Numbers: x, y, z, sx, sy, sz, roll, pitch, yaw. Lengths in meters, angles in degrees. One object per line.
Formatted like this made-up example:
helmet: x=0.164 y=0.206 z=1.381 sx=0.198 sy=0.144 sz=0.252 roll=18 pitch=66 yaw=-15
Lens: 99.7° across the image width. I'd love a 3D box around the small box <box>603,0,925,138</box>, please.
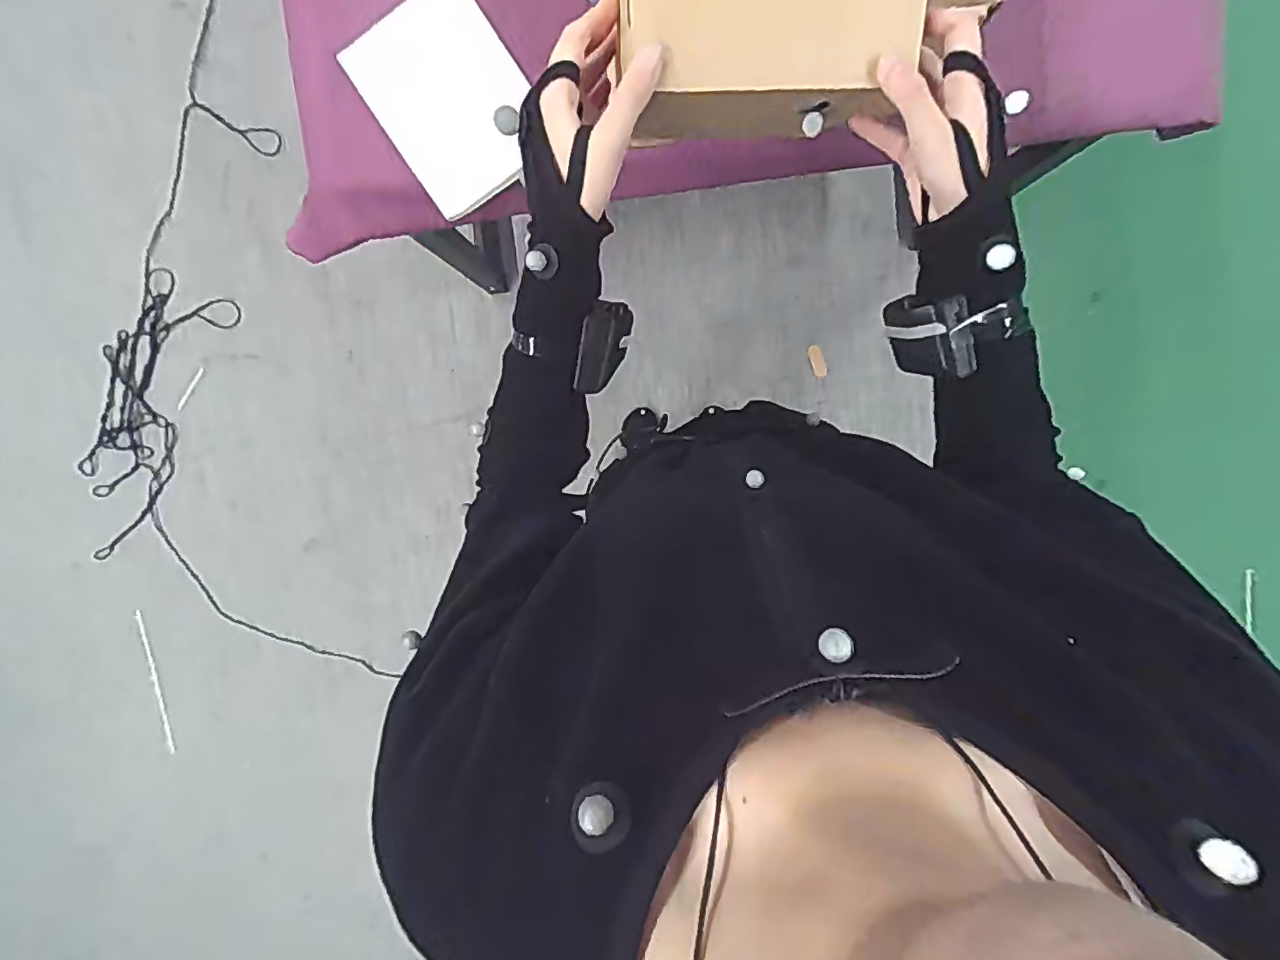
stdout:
small box: x=0.067 y=-0.337 z=0.356 sx=0.179 sy=0.176 sz=0.168 roll=-4 pitch=113 yaw=-5
